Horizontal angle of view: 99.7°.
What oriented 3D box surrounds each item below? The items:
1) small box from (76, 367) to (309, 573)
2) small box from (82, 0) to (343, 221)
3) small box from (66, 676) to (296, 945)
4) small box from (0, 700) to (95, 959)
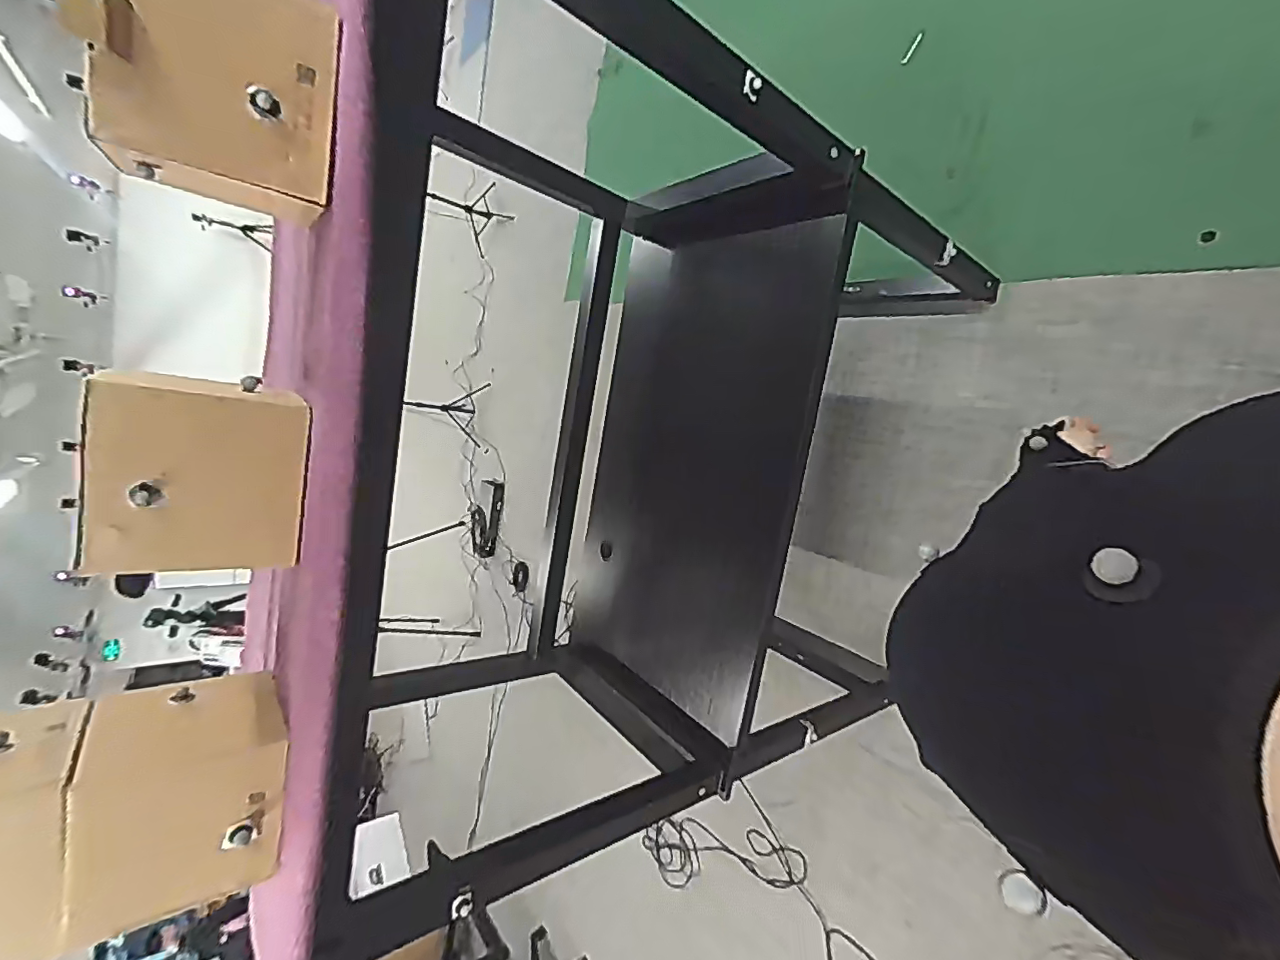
[{"bbox_3d":[-0.461,-0.015,0.576,0.168,0.176,0.179,20,103,51],"label":"small box"},{"bbox_3d":[-0.398,-0.365,0.520,0.179,0.176,0.168,24,107,51],"label":"small box"},{"bbox_3d":[-0.496,0.334,0.596,0.179,0.176,0.168,13,98,49],"label":"small box"},{"bbox_3d":[-0.624,0.333,0.493,0.168,0.176,0.179,12,98,50],"label":"small box"}]
